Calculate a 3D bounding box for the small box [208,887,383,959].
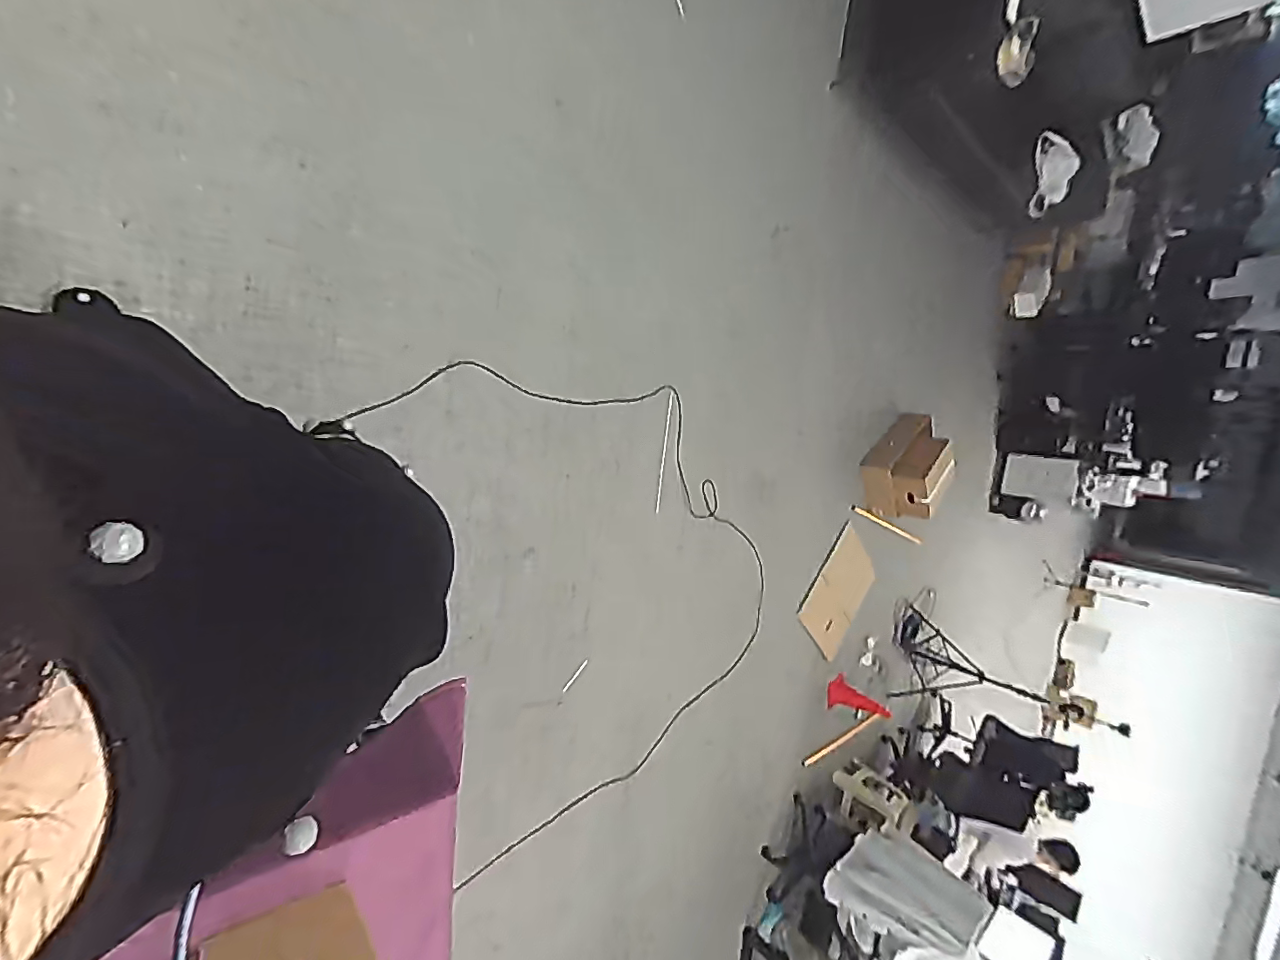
[{"bbox_3d":[-0.444,0.685,0.698,0.179,0.176,0.168,3,97,-42],"label":"small box"}]
